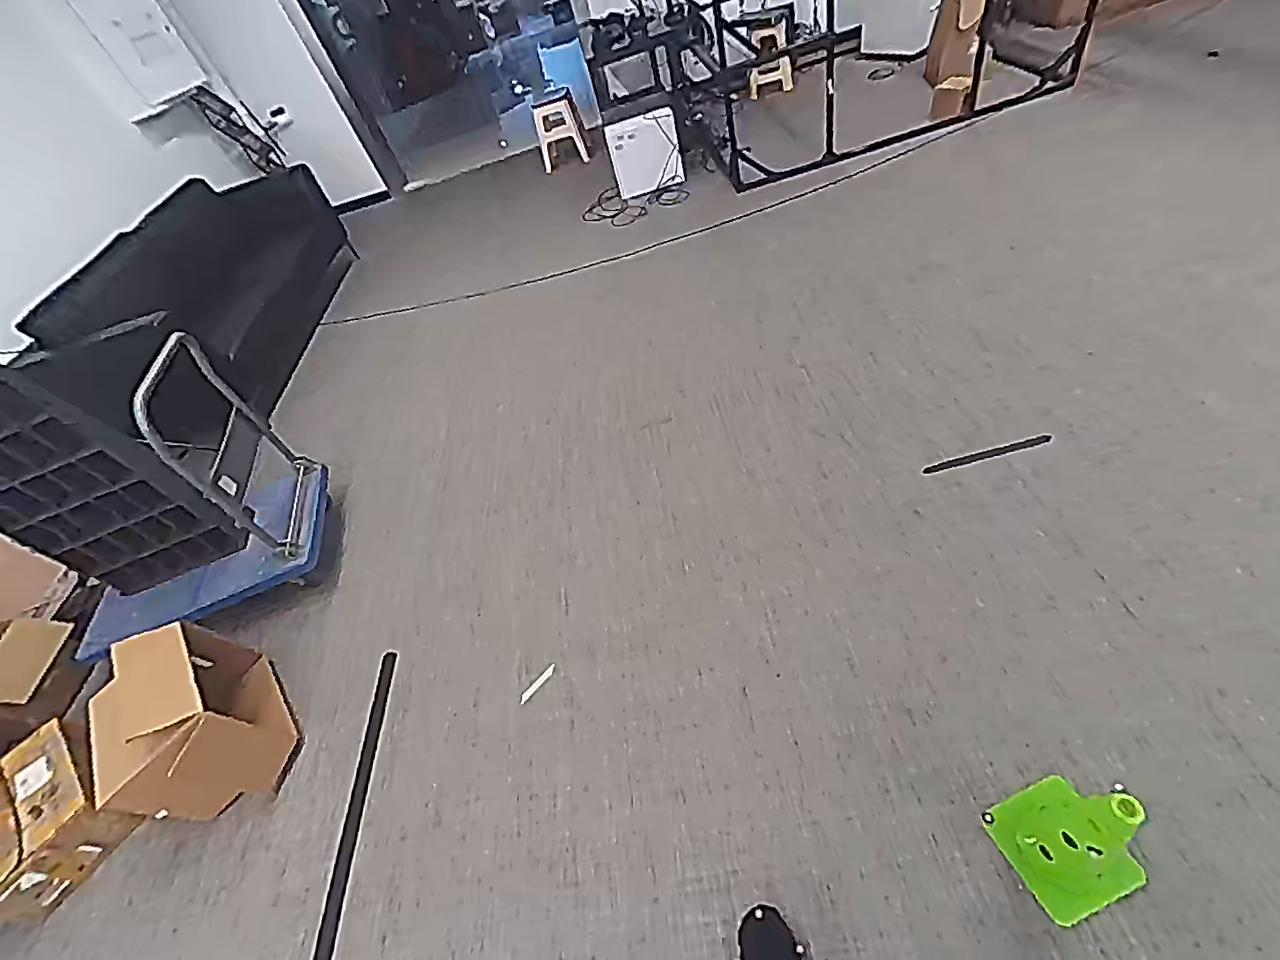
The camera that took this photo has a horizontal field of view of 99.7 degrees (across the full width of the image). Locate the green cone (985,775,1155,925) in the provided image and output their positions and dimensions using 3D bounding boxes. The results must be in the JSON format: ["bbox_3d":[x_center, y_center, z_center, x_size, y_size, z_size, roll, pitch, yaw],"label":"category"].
[{"bbox_3d":[0.782,0.602,0.930,0.202,0.368,0.200,-25,47,-5],"label":"green cone"}]
